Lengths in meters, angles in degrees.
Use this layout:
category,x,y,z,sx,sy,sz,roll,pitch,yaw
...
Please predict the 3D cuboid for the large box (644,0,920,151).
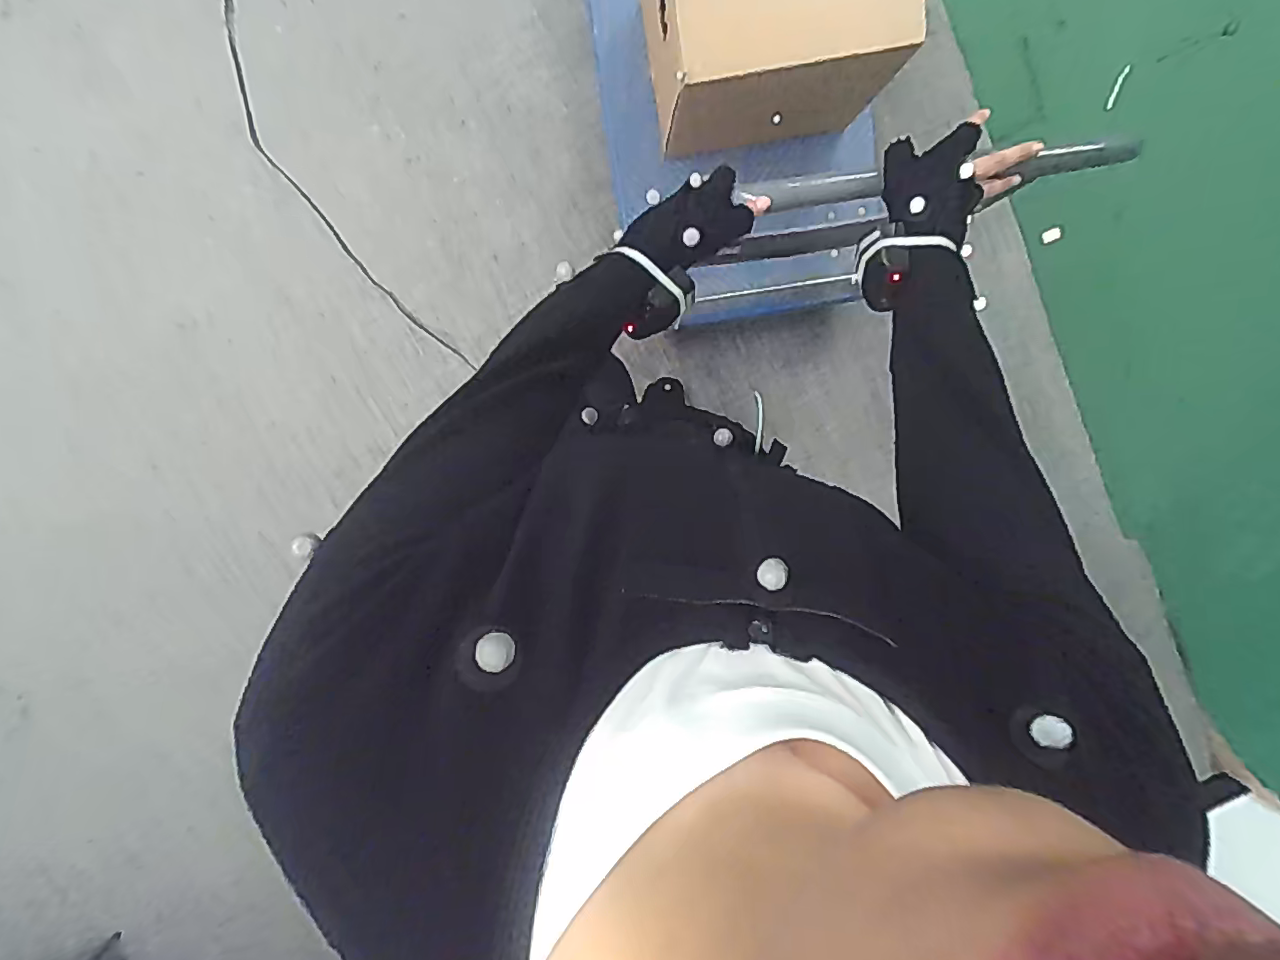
category,x,y,z,sx,sy,sz,roll,pitch,yaw
large box,0.233,-0.861,0.998,0.408,0.320,0.320,-11,101,0
